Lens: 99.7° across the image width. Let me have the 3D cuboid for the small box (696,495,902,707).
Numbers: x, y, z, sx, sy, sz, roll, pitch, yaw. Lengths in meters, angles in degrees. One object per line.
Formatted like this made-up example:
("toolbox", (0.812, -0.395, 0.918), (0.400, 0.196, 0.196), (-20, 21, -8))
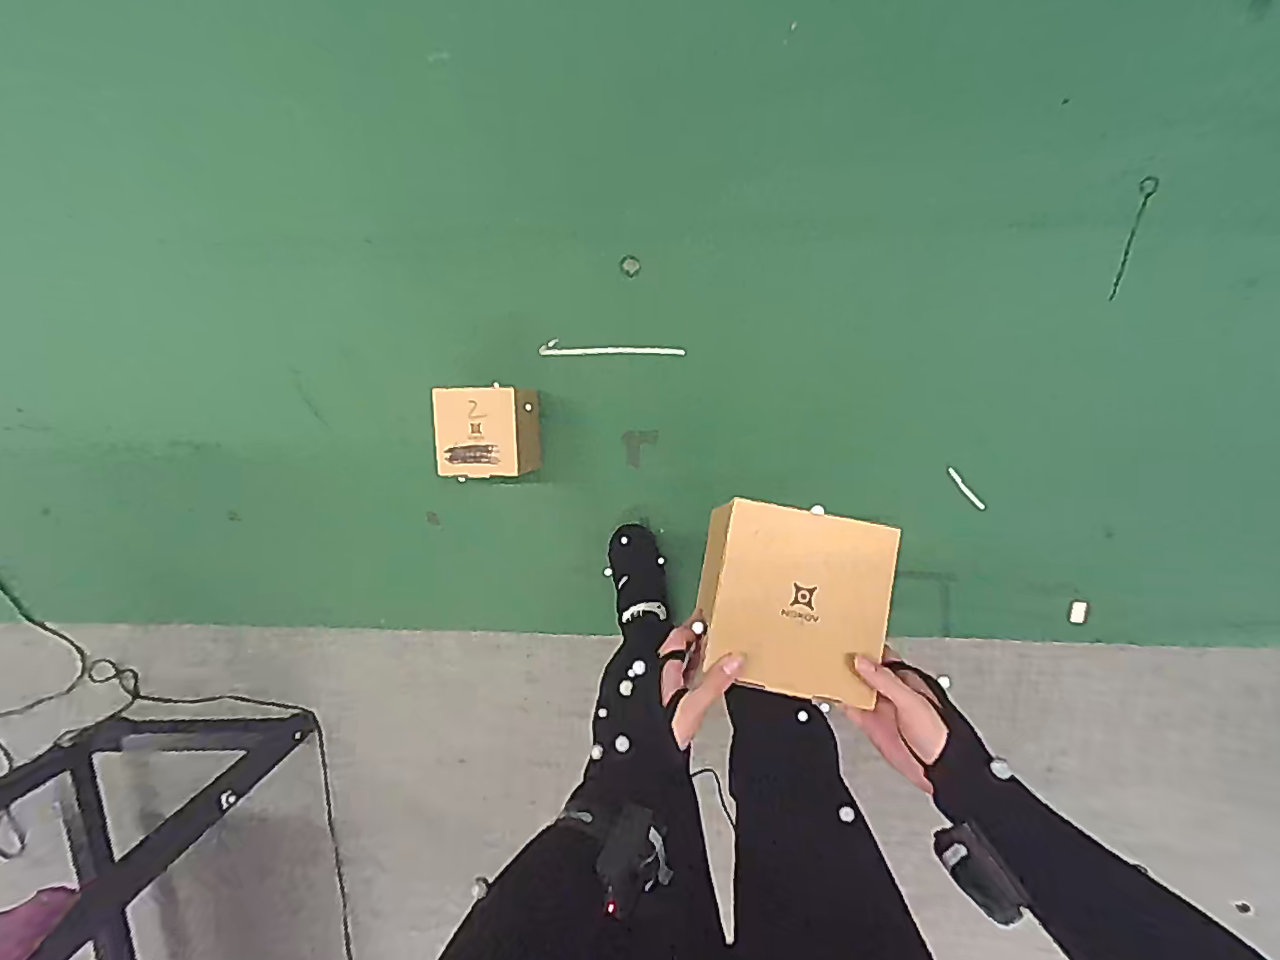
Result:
("small box", (0.160, 0.122, 0.595), (0.168, 0.176, 0.179), (11, 85, 2))
